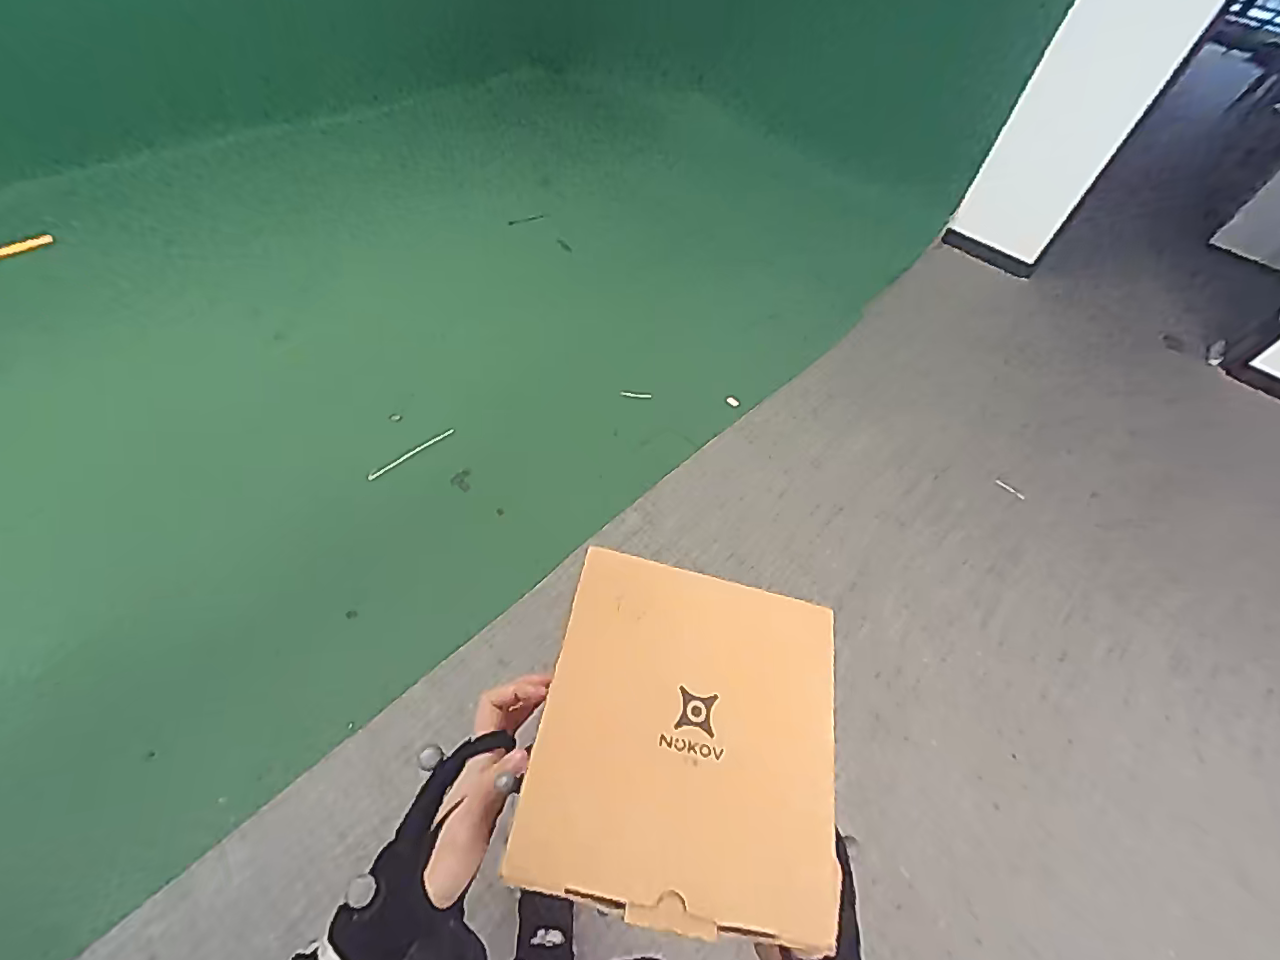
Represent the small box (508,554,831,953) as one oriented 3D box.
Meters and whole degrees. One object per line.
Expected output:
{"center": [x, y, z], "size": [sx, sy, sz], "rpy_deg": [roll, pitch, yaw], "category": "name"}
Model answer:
{"center": [0.013, 0.179, 0.370], "size": [0.168, 0.176, 0.179], "rpy_deg": [15, 57, -4], "category": "small box"}
